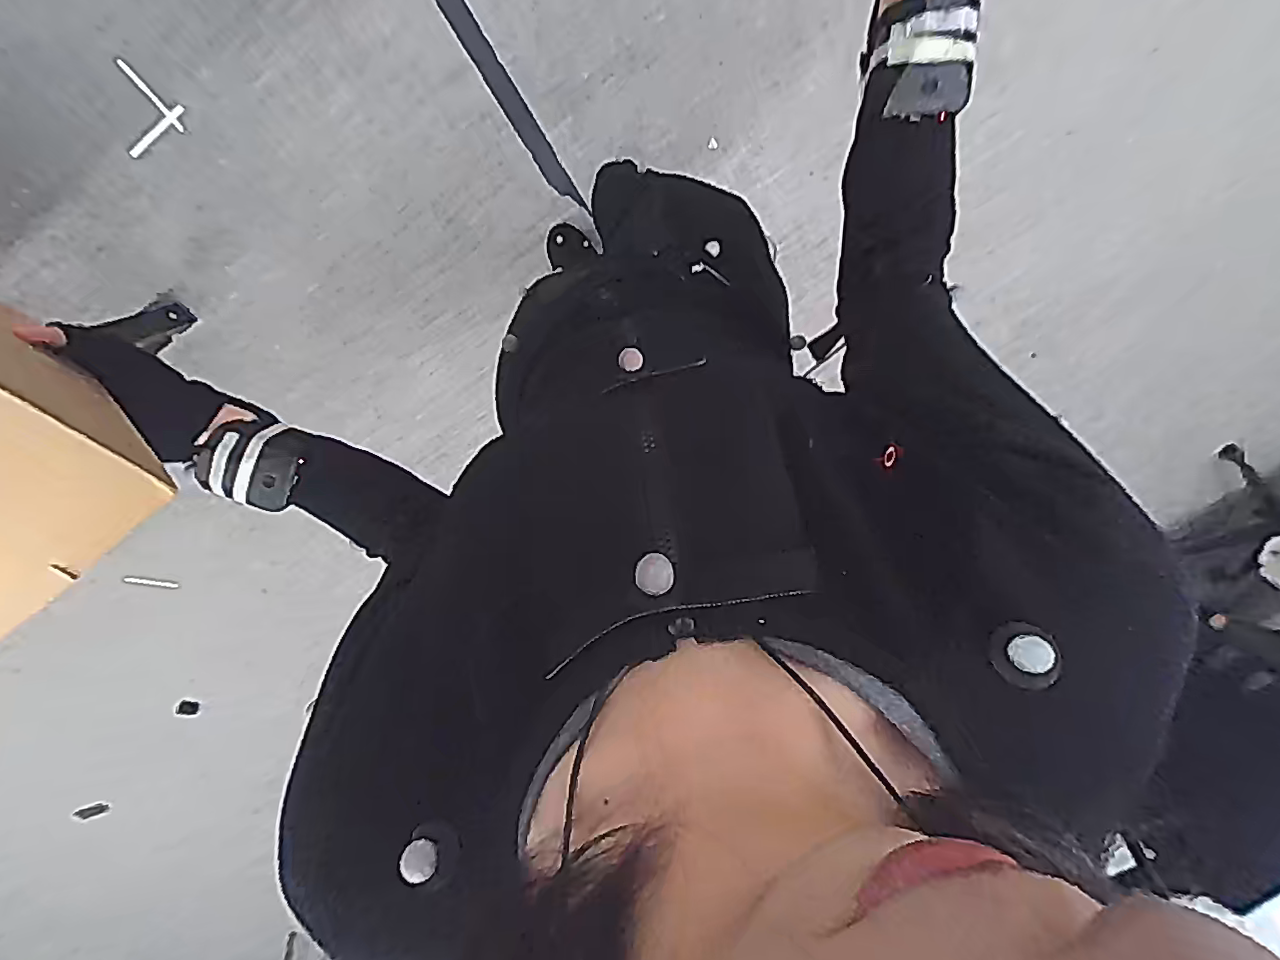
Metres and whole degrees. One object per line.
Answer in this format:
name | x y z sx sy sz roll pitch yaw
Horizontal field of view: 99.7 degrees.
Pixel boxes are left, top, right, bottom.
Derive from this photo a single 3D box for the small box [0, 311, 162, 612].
small box | -0.375 -0.023 0.226 0.168 0.179 0.176 -47 151 -19
